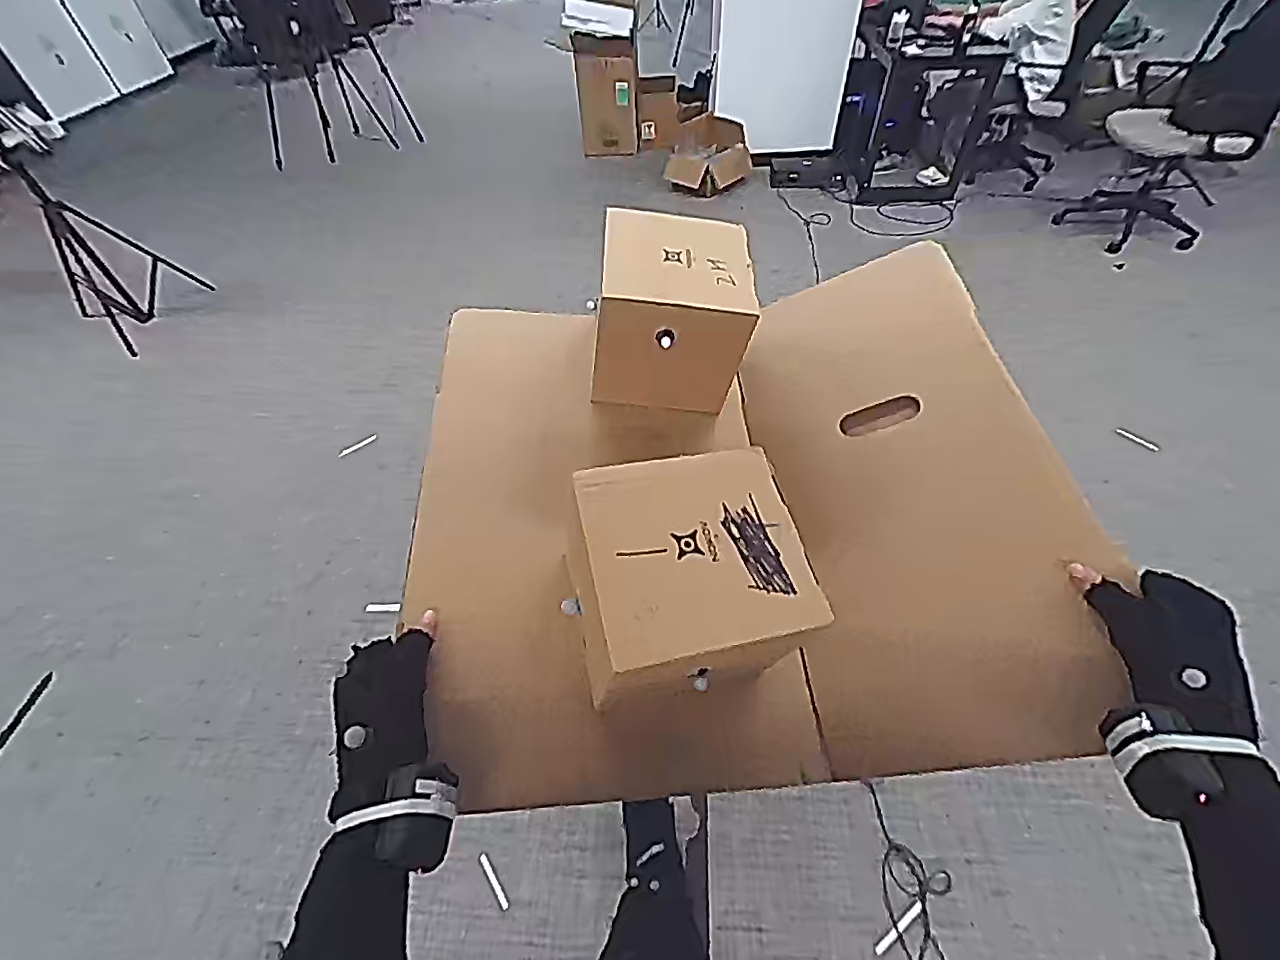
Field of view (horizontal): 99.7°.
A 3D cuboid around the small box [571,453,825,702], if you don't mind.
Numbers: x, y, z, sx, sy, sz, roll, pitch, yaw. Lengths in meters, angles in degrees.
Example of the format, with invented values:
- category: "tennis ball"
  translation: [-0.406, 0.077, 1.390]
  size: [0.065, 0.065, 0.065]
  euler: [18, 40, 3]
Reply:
- category: "small box"
  translation: [0.035, 0.095, 0.508]
  size: [0.179, 0.176, 0.168]
  euler: [-8, 60, -13]

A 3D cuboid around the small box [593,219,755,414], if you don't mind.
- category: "small box"
  translation: [0.033, -0.203, 0.698]
  size: [0.179, 0.176, 0.168]
  euler: [5, 57, -7]
